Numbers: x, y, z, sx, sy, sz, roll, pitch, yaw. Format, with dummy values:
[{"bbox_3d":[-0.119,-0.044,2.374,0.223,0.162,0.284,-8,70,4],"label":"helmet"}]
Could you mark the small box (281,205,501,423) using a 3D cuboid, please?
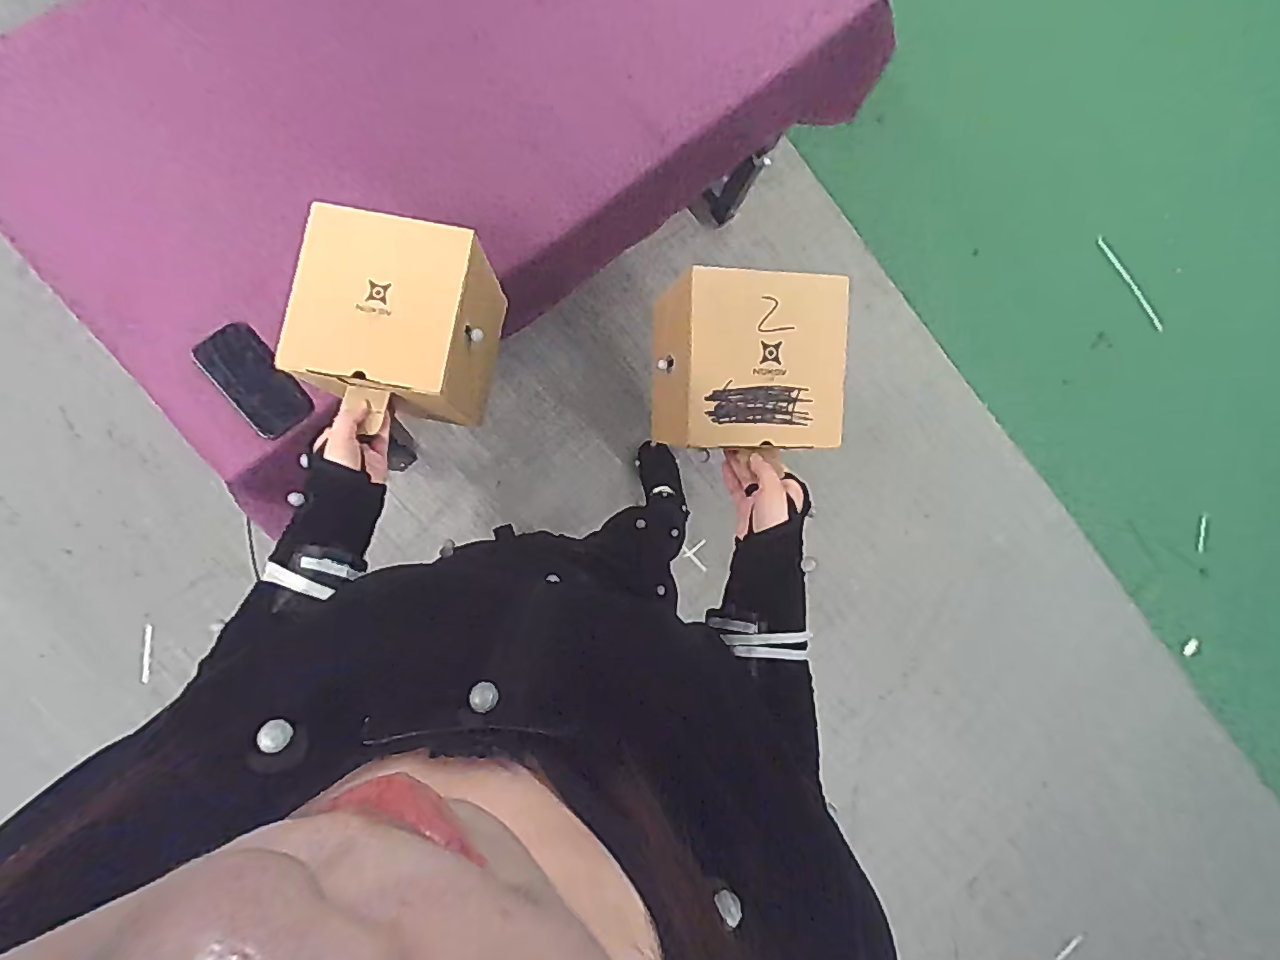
[{"bbox_3d":[-0.267,-0.176,0.625,0.168,0.176,0.179,9,85,-2],"label":"small box"}]
